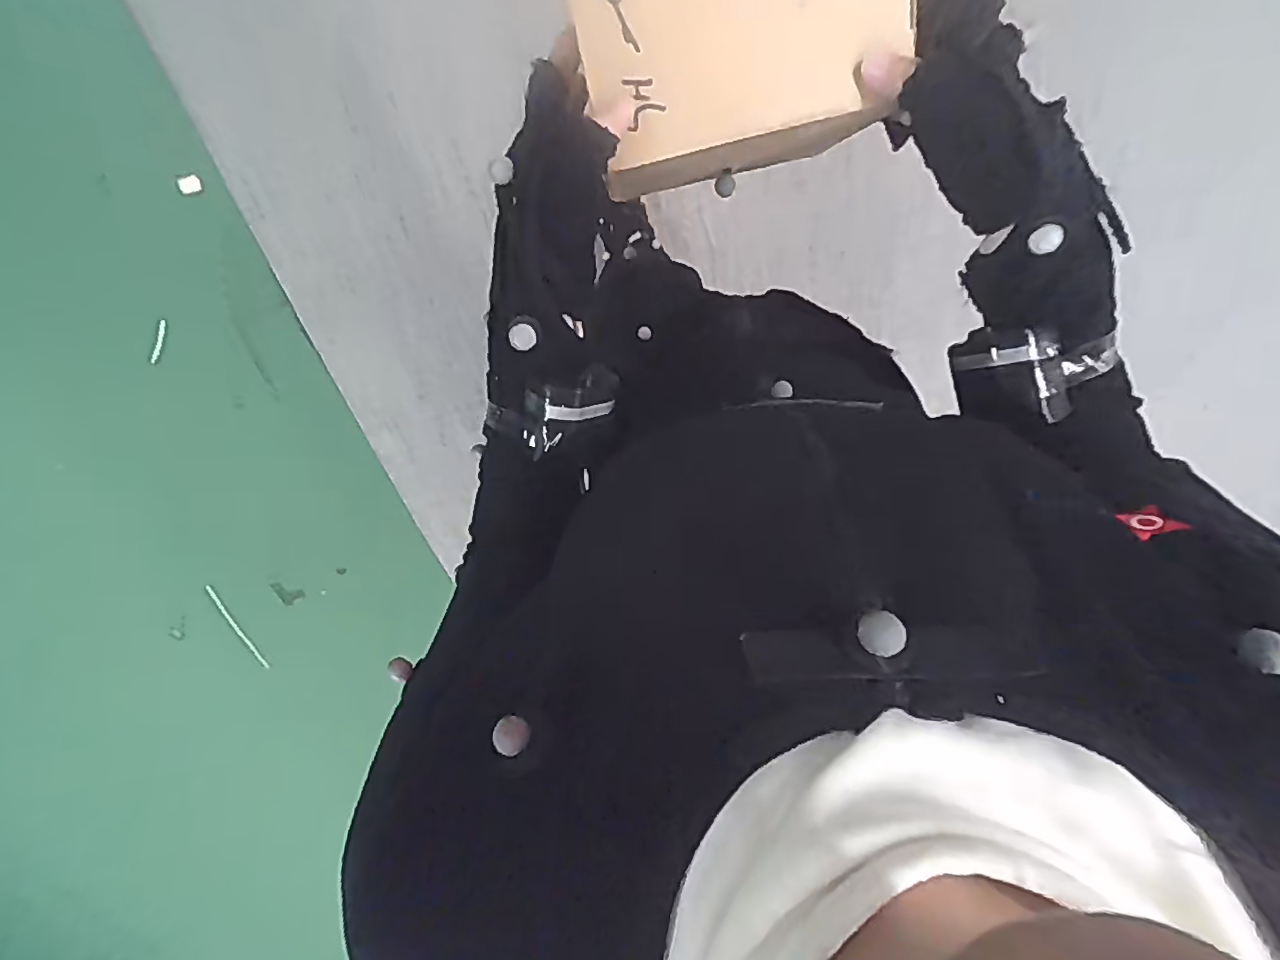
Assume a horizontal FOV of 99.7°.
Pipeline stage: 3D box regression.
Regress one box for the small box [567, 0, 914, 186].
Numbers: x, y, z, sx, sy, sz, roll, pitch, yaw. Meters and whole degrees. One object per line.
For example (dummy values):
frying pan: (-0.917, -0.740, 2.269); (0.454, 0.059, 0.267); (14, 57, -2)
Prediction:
small box: (0.045, -0.301, 0.340); (0.179, 0.176, 0.168); (-11, 111, 2)
